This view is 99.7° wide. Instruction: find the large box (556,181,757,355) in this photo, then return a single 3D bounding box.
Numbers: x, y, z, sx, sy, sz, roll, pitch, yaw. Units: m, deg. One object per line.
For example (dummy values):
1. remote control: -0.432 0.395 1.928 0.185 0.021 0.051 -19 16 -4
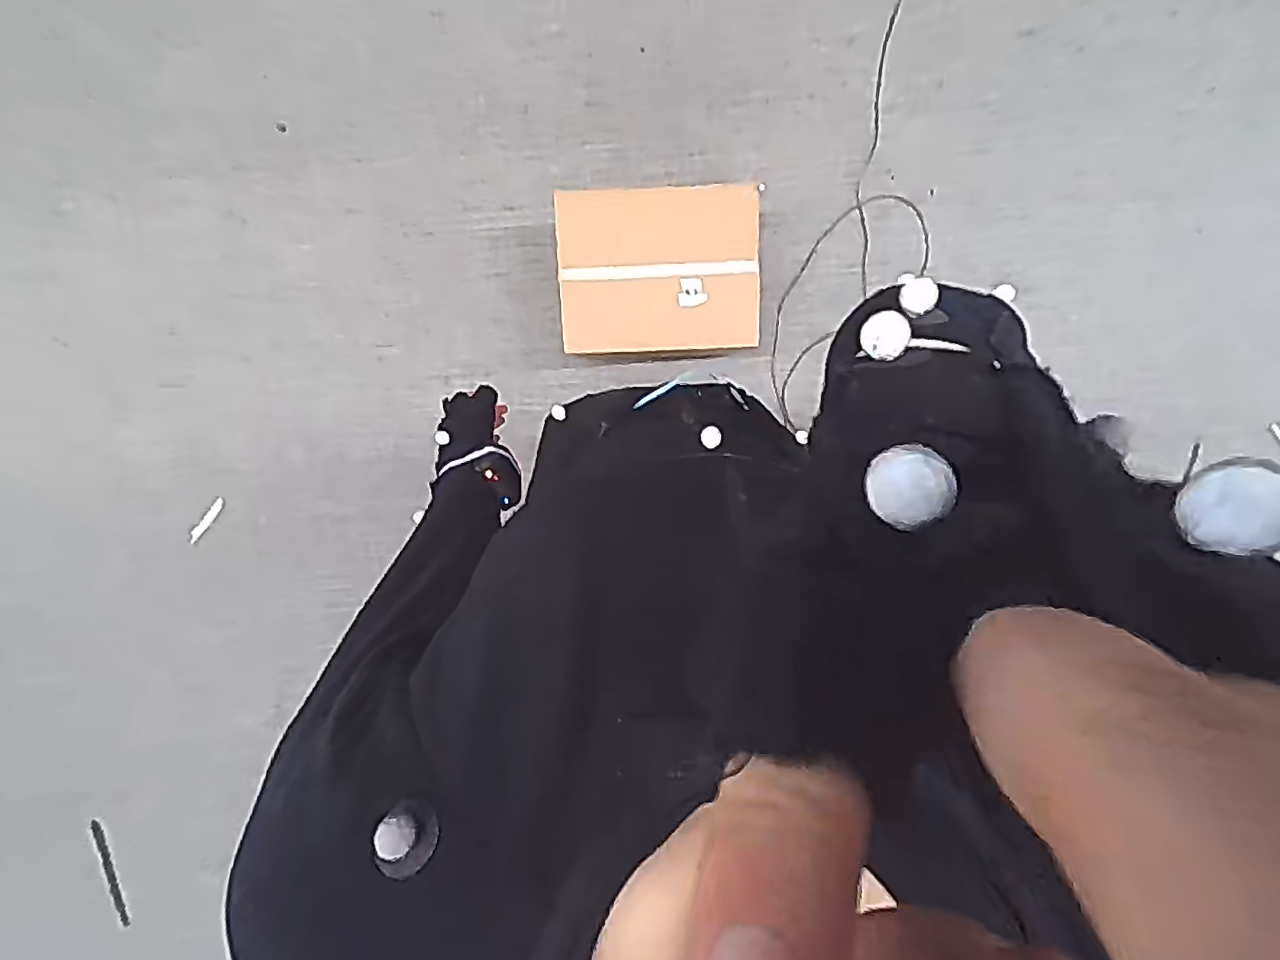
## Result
1. large box: 0.036 -0.459 1.240 0.408 0.320 0.320 -2 101 0
